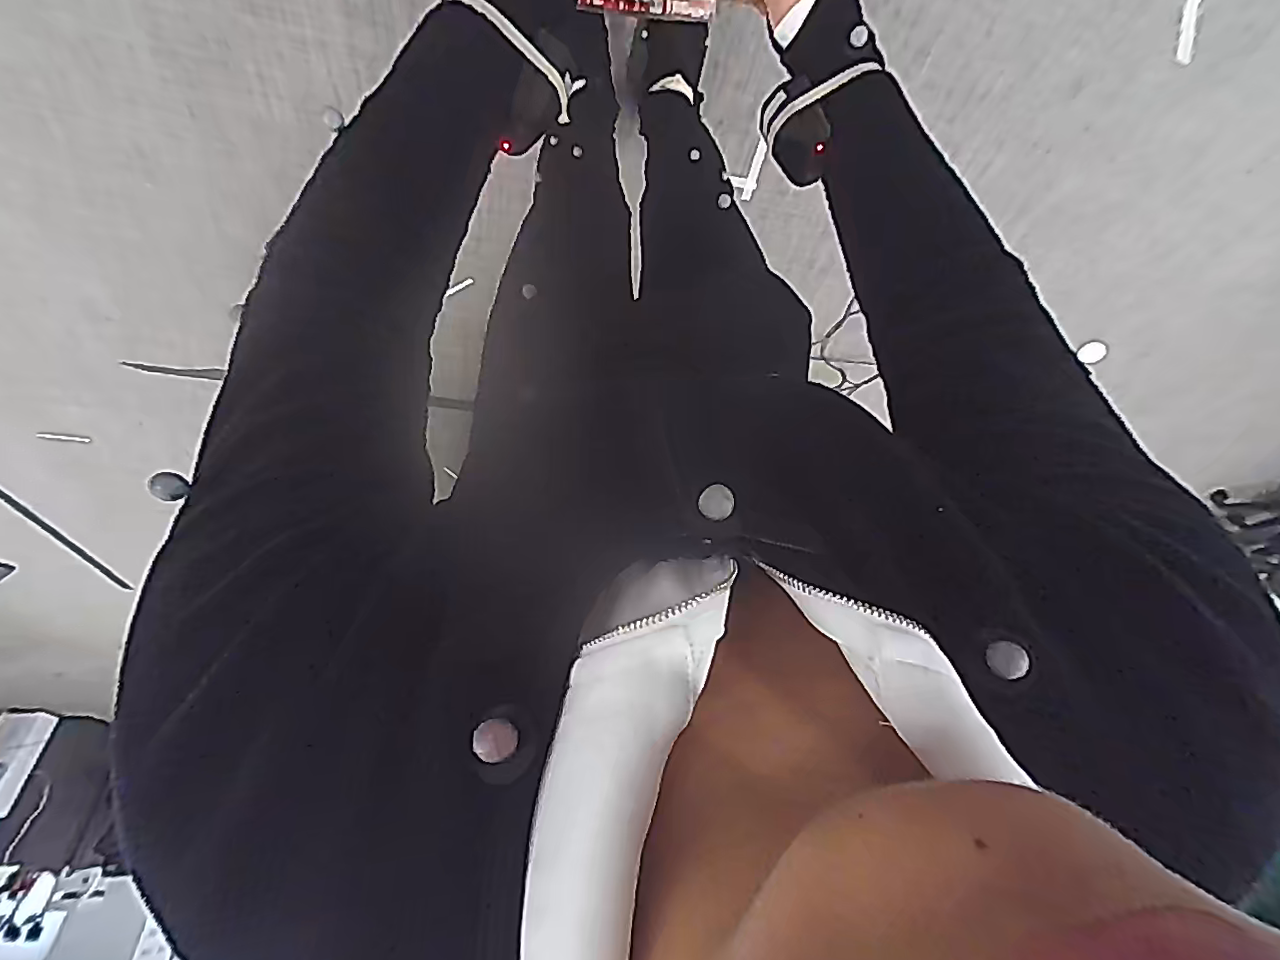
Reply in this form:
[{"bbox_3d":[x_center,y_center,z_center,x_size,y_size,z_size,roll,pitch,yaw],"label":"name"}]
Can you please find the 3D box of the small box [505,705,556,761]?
[{"bbox_3d":[-0.417,0.975,2.083,0.179,0.176,0.168,2,145,-7],"label":"small box"}]
